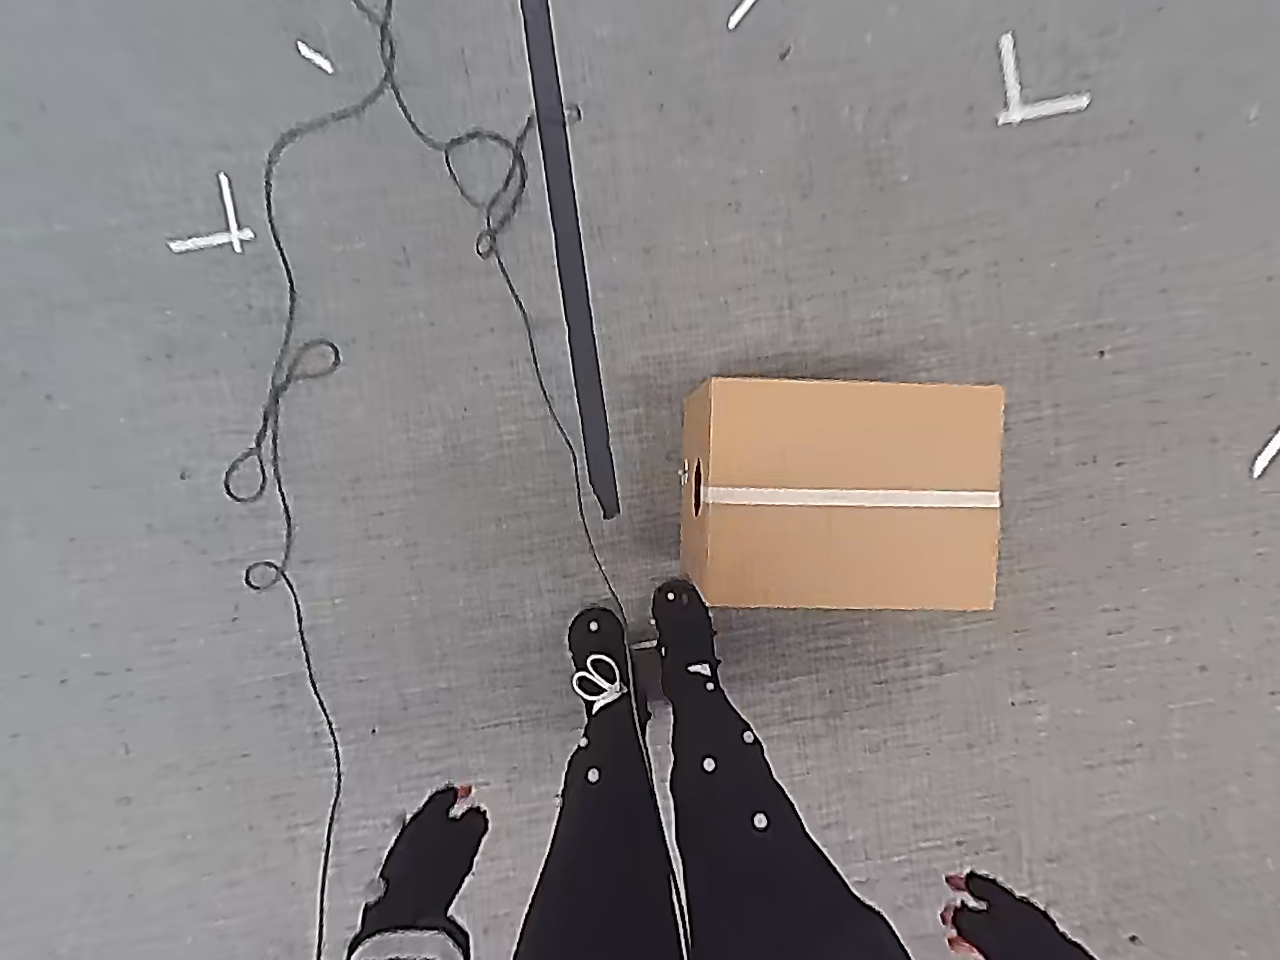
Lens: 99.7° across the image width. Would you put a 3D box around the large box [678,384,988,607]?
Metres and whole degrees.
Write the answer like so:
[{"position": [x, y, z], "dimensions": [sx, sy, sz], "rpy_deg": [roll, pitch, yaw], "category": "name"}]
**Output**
[{"position": [0.281, 0.015, 0.900], "dimensions": [0.408, 0.320, 0.320], "rpy_deg": [1, 92, -2], "category": "large box"}]
